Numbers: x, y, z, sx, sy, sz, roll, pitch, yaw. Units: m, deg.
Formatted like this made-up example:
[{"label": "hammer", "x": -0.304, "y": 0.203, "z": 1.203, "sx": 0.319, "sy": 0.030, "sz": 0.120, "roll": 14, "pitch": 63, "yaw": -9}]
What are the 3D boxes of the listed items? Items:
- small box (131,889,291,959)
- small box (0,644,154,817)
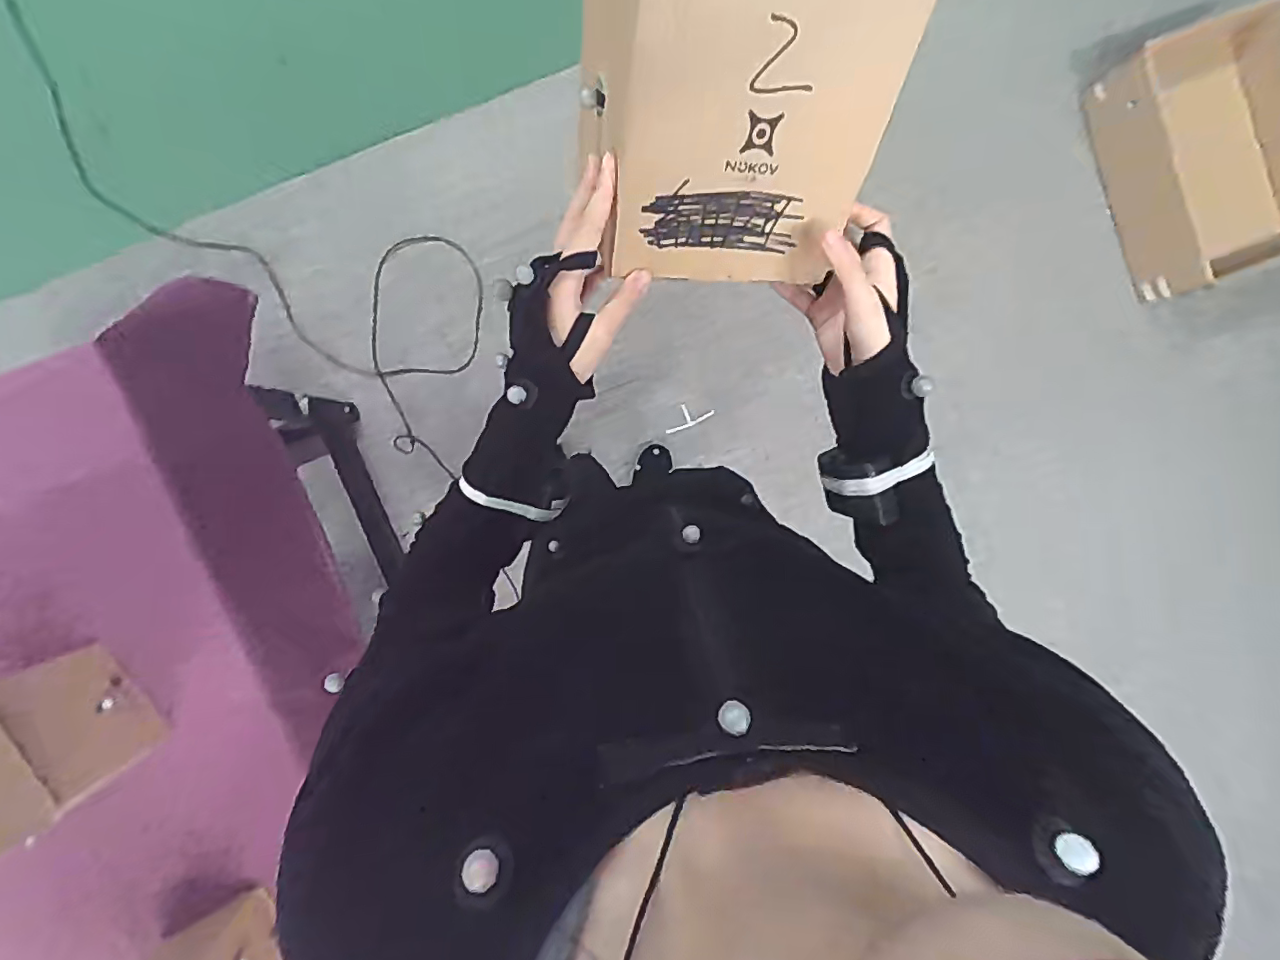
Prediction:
[{"label": "small box", "x": -0.597, "y": 0.696, "z": 0.707, "sx": 0.179, "sy": 0.176, "sz": 0.168, "roll": -29, "pitch": 93, "yaw": 1}, {"label": "small box", "x": -0.788, "y": 0.340, "z": 0.678, "sx": 0.179, "sy": 0.176, "sz": 0.168, "roll": -35, "pitch": 94, "yaw": 0}]
